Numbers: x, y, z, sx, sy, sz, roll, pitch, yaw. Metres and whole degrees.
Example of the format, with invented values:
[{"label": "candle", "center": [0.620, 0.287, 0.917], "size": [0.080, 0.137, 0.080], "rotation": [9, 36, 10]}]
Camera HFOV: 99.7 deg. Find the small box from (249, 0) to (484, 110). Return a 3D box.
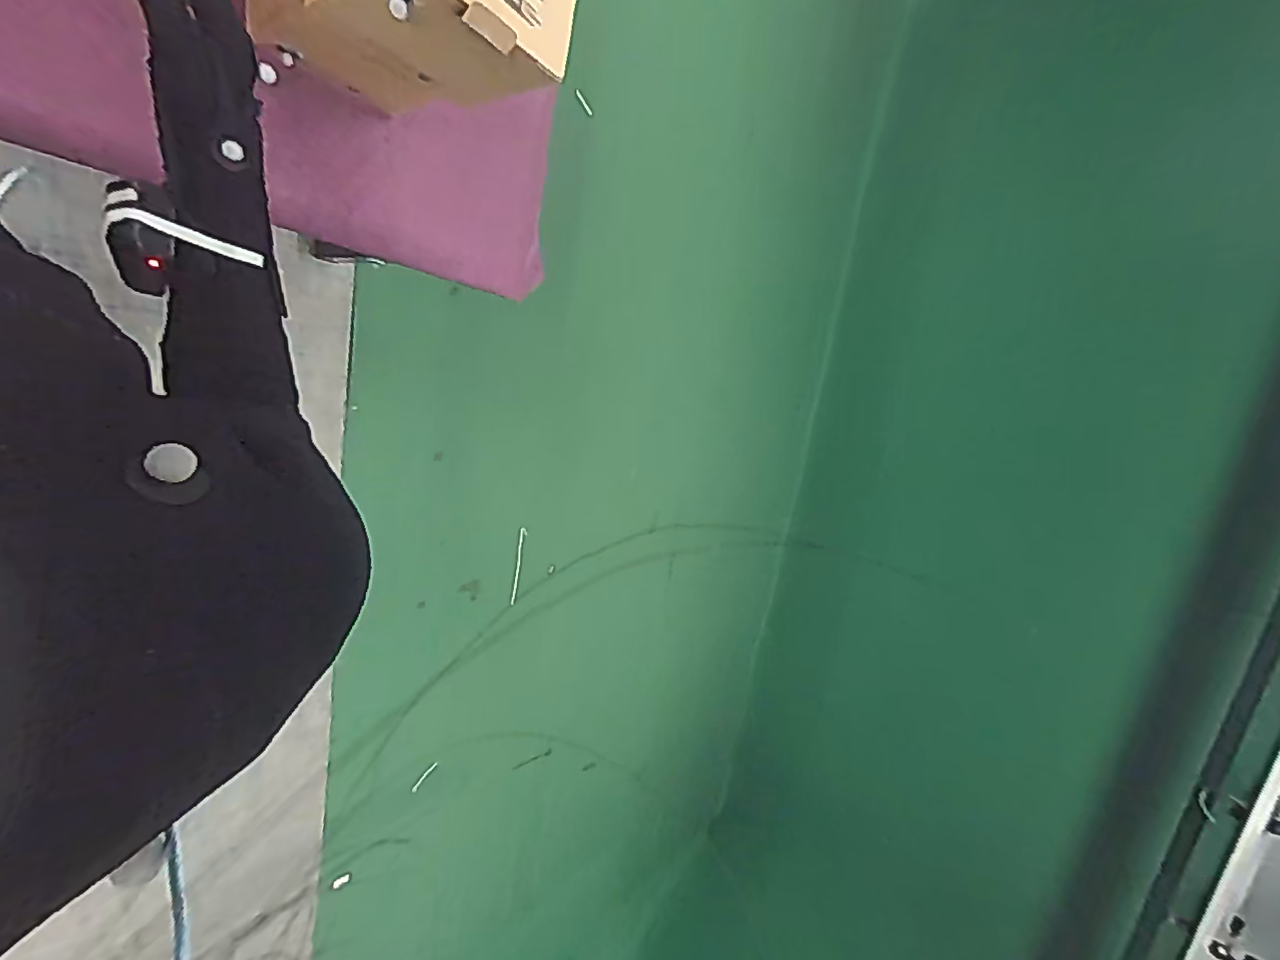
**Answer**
[{"label": "small box", "center": [-0.286, -0.530, 0.573], "size": [0.168, 0.176, 0.179], "rotation": [3, 103, -54]}]
